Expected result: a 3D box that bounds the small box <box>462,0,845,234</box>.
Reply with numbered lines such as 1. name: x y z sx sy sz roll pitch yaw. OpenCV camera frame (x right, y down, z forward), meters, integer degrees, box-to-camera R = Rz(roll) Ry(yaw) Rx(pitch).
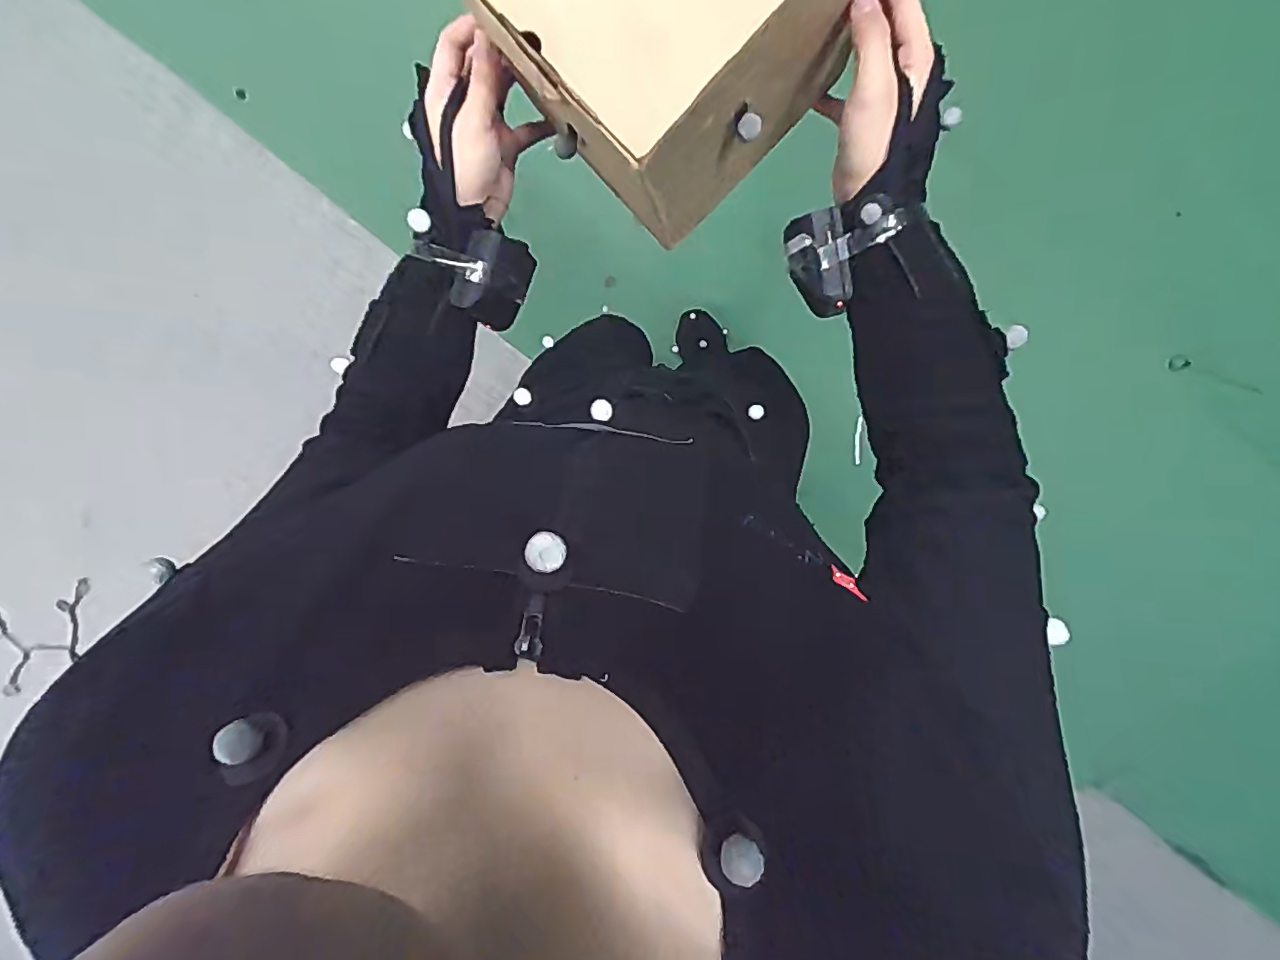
1. small box: 0.016 -0.293 0.342 0.179 0.176 0.168 -44 90 13
